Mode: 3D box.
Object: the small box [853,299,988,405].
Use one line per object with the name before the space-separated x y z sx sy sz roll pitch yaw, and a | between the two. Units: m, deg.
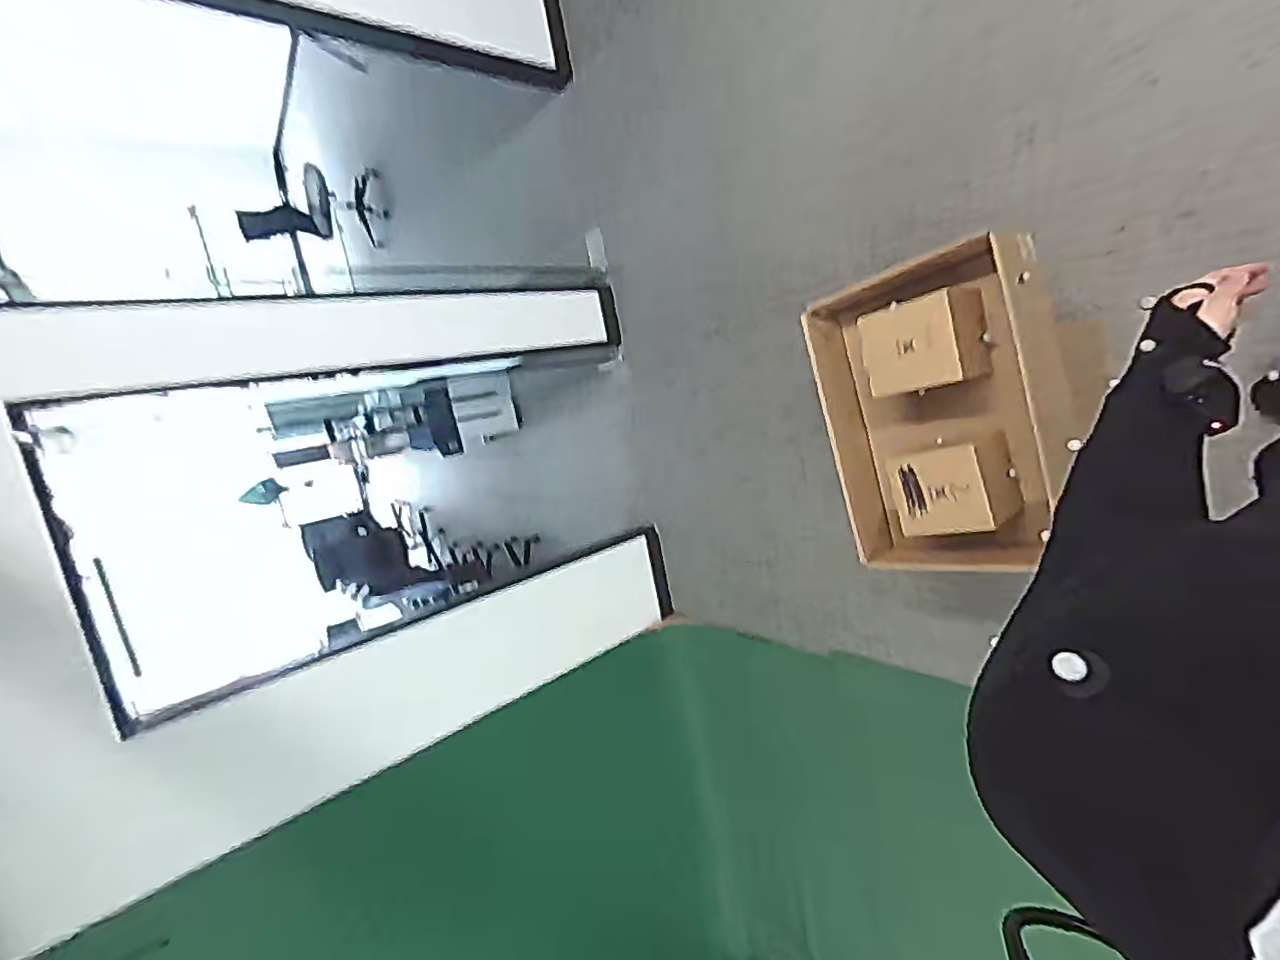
small box | 0.563 -0.255 1.086 0.179 0.176 0.168 -7 98 52
